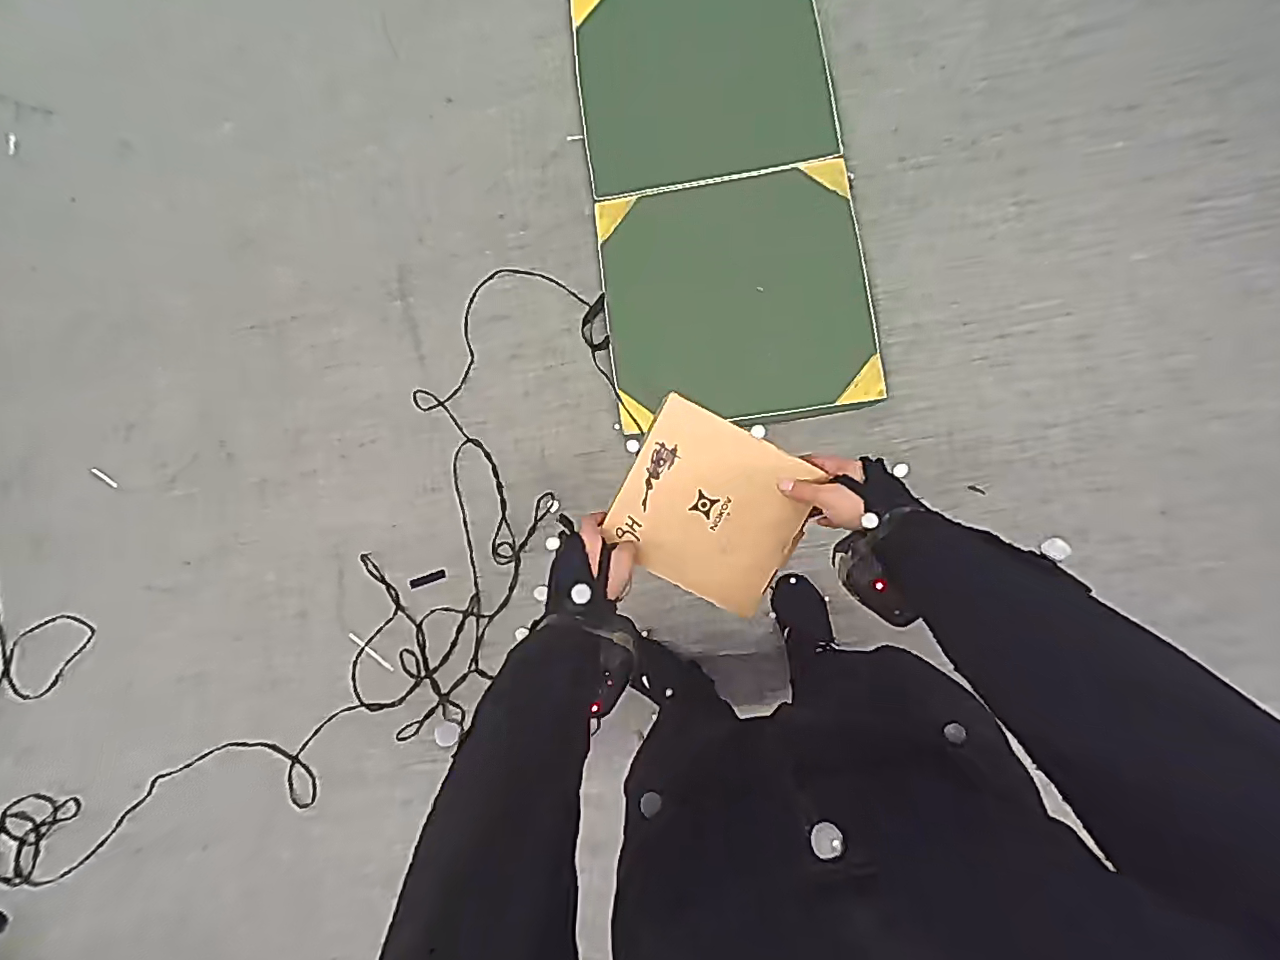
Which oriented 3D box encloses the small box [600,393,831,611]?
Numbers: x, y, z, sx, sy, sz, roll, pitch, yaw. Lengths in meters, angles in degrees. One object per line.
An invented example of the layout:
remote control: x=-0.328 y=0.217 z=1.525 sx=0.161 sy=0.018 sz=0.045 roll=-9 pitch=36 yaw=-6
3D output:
small box: x=0.075 y=0.012 z=0.606 sx=0.179 sy=0.176 sz=0.168 roll=27 pitch=98 yaw=-2
